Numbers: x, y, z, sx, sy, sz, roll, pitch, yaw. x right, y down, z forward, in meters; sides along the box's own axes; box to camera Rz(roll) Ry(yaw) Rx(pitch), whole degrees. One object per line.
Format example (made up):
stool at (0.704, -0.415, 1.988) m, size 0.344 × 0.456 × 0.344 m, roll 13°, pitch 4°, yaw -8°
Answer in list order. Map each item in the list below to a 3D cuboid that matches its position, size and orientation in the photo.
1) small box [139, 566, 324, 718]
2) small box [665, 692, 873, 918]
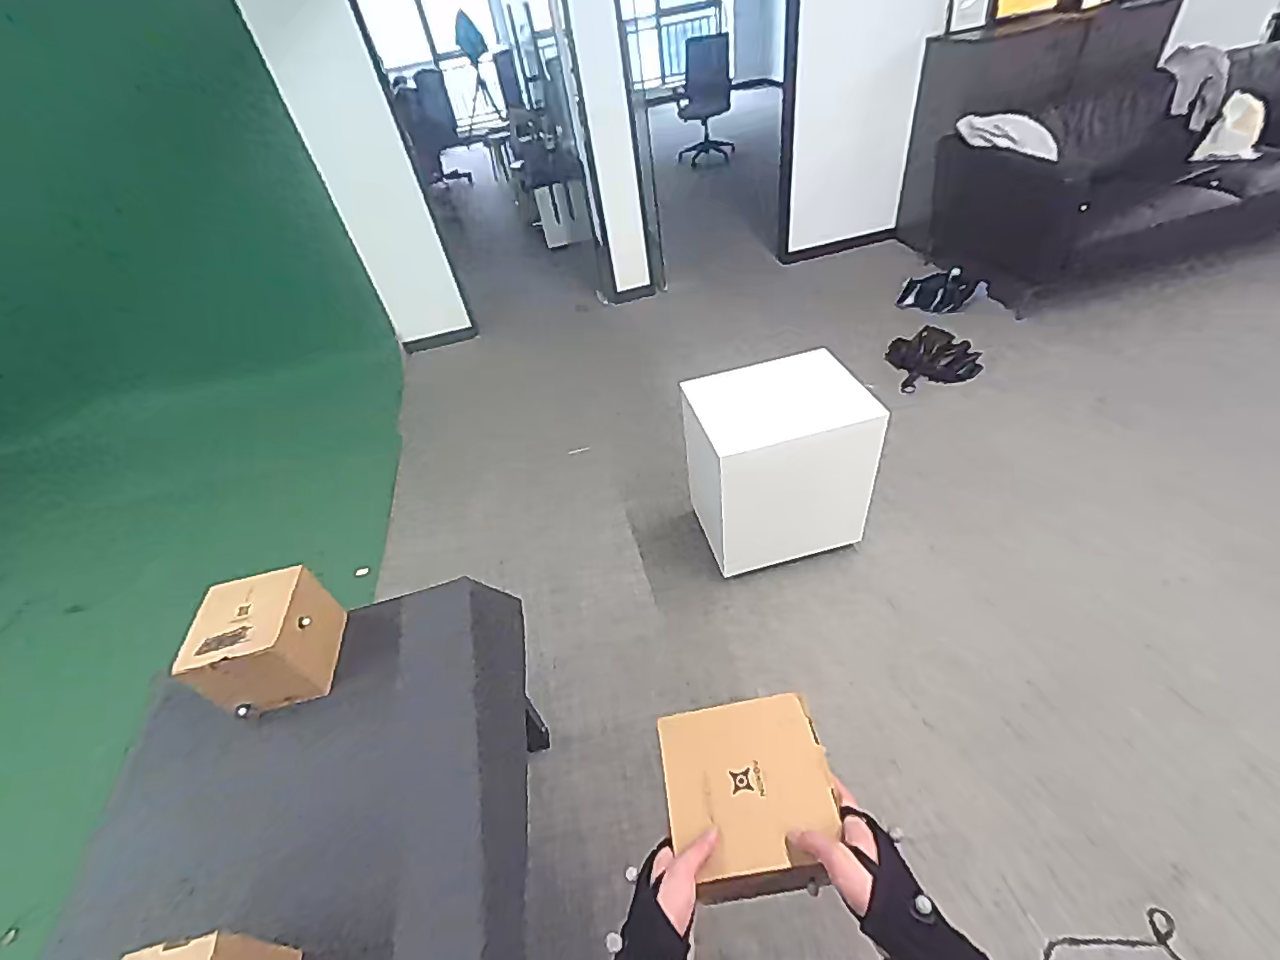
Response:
small box at (-0.666, 0.279, 0.913) m, size 0.168 × 0.176 × 0.179 m, roll -12°, pitch 41°, yaw -6°
small box at (0.137, 0.369, 0.612) m, size 0.179 × 0.176 × 0.168 m, roll -14°, pitch 43°, yaw 2°
